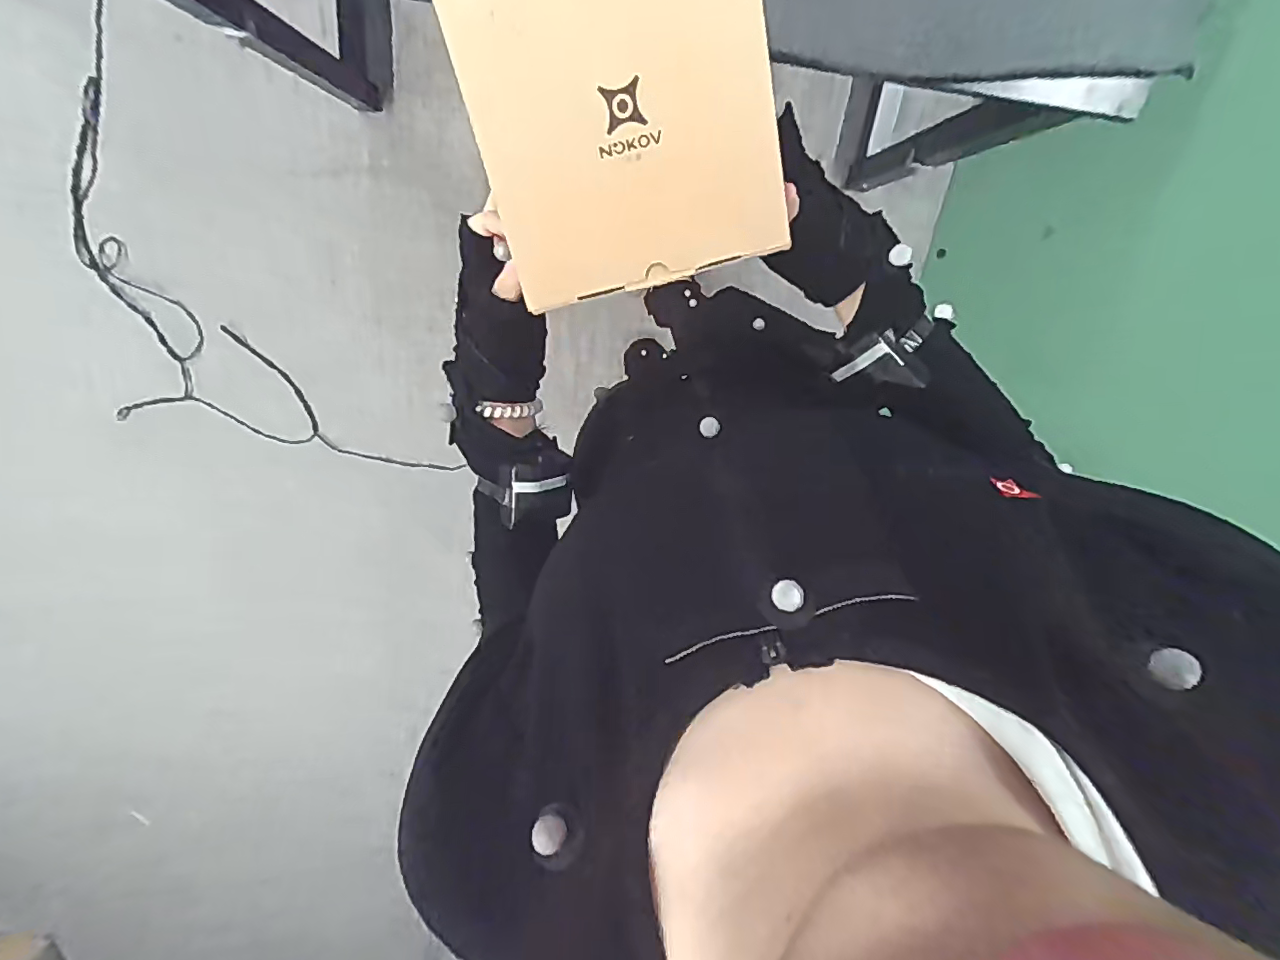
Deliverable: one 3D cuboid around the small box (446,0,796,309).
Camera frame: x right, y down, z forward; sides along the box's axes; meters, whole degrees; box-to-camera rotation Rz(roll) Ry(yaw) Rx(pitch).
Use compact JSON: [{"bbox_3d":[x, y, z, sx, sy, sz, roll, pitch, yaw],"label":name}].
[{"bbox_3d":[-0.010,-0.229,0.370,0.168,0.176,0.179,-14,113,2],"label":"small box"}]
